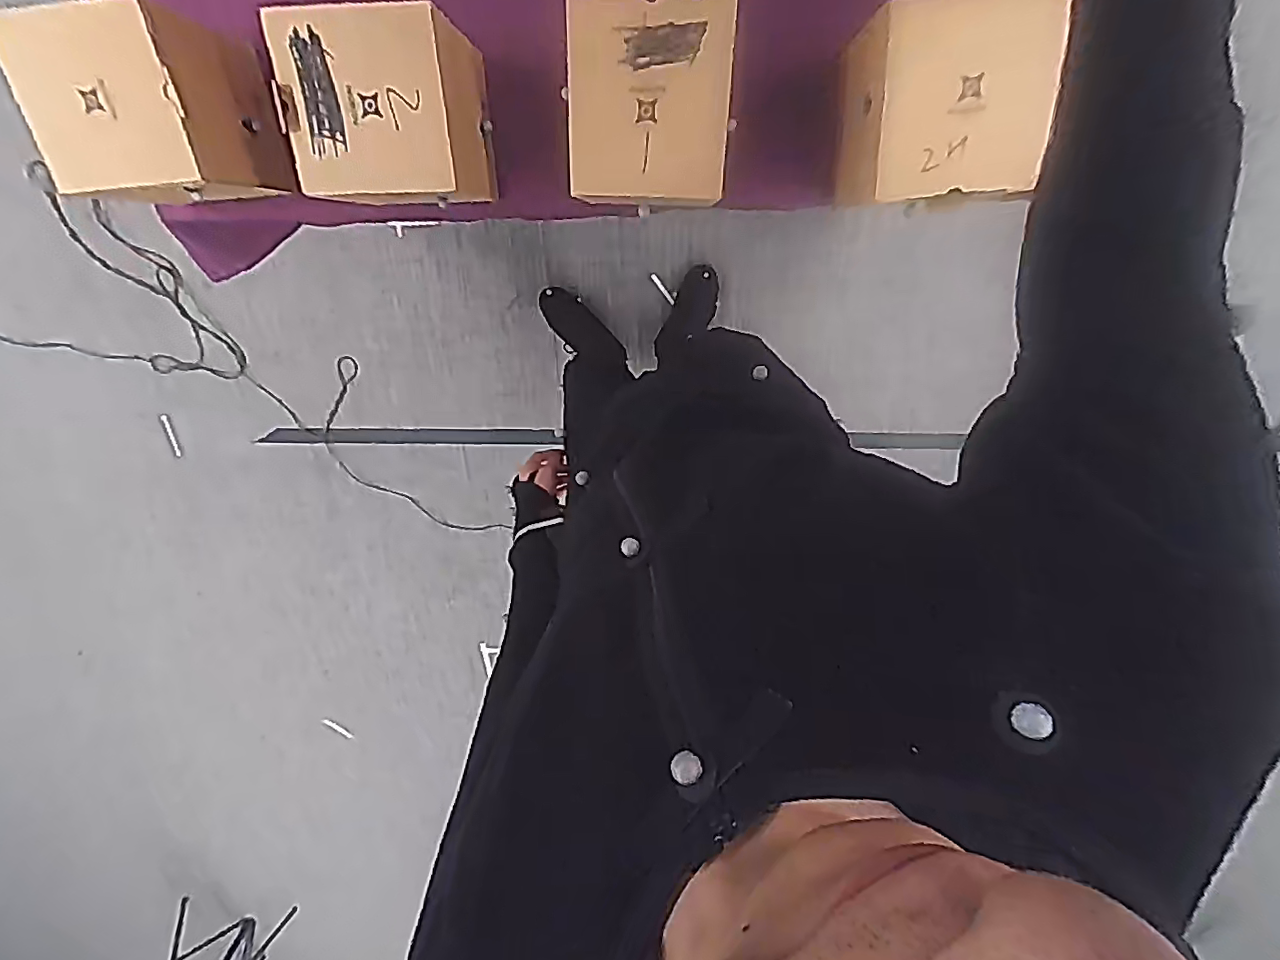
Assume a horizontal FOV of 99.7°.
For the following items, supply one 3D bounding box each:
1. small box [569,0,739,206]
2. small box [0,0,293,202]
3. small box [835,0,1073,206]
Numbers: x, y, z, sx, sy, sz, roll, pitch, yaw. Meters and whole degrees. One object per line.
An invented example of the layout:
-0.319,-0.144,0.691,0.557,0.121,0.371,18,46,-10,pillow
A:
0.013,-0.418,0.618,0.168,0.176,0.179,3,115,2,small box
-0.567,-0.433,0.644,0.179,0.176,0.168,-4,114,3,small box
0.326,-0.411,0.602,0.168,0.176,0.179,-2,115,5,small box
